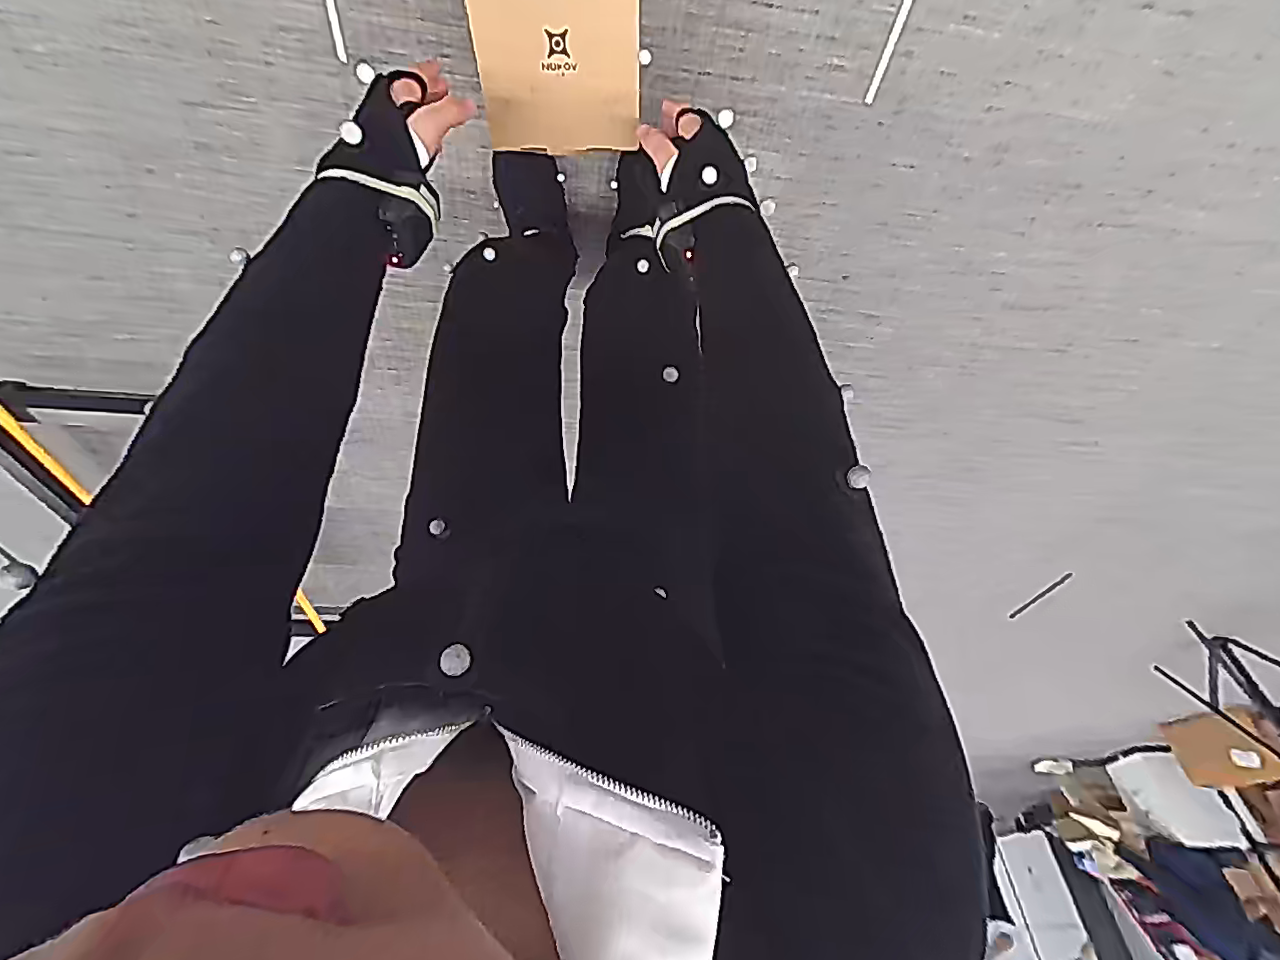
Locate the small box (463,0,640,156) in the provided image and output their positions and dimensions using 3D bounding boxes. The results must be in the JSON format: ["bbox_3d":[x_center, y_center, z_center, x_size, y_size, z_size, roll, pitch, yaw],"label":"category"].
[{"bbox_3d":[-0.084,-0.481,0.589,0.168,0.176,0.179,0,140,0],"label":"small box"}]
